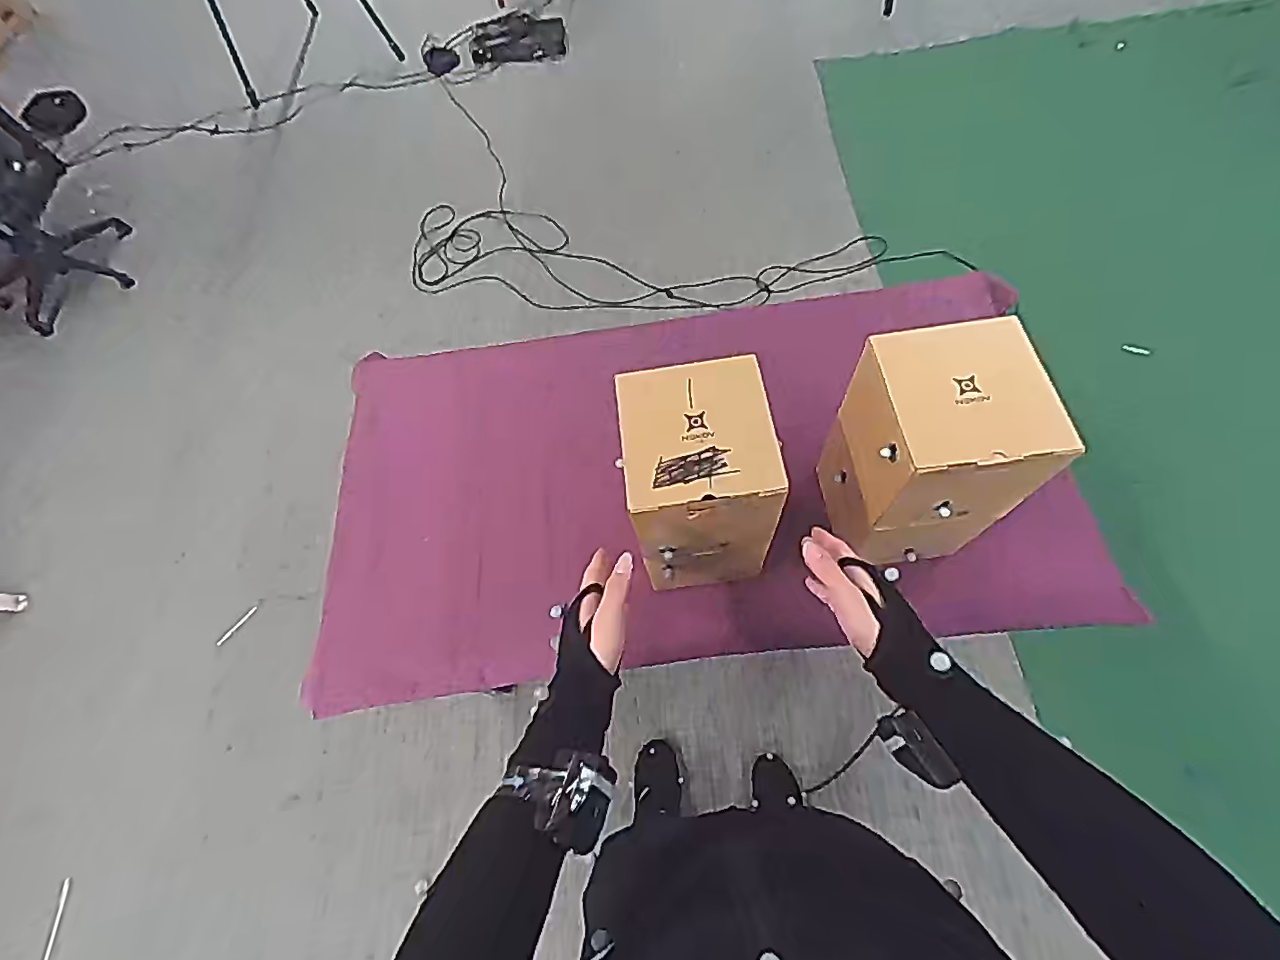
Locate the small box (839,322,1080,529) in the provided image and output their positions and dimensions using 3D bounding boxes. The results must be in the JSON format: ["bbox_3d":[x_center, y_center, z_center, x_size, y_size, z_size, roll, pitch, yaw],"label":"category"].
[{"bbox_3d":[0.353,-0.057,0.643,0.168,0.176,0.179,-7,65,3],"label":"small box"}]

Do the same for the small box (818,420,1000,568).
[{"bbox_3d":[0.371,0.014,0.788,0.168,0.176,0.179,-7,64,4],"label":"small box"}]

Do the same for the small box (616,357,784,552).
[{"bbox_3d":[0.068,-0.019,0.656,0.168,0.176,0.179,-8,64,3],"label":"small box"}]
